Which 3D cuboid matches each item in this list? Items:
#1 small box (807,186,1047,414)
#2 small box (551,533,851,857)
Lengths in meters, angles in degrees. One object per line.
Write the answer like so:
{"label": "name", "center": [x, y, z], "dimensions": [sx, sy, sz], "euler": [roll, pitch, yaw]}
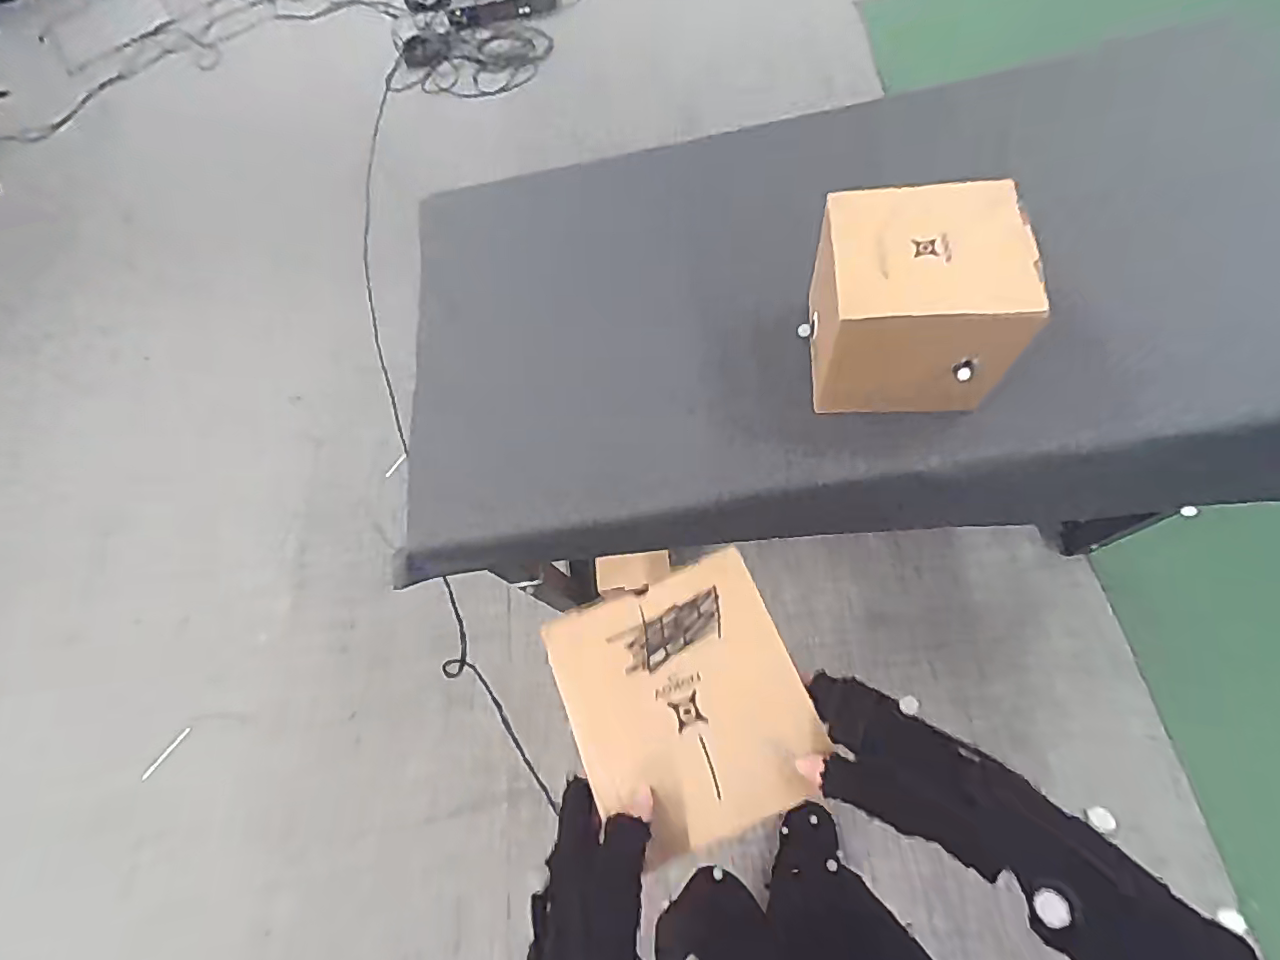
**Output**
{"label": "small box", "center": [0.287, -0.183, 0.588], "dimensions": [0.179, 0.176, 0.168], "euler": [0, 65, 9]}
{"label": "small box", "center": [0.041, 0.171, 0.457], "dimensions": [0.168, 0.176, 0.179], "euler": [-21, 69, -4]}
